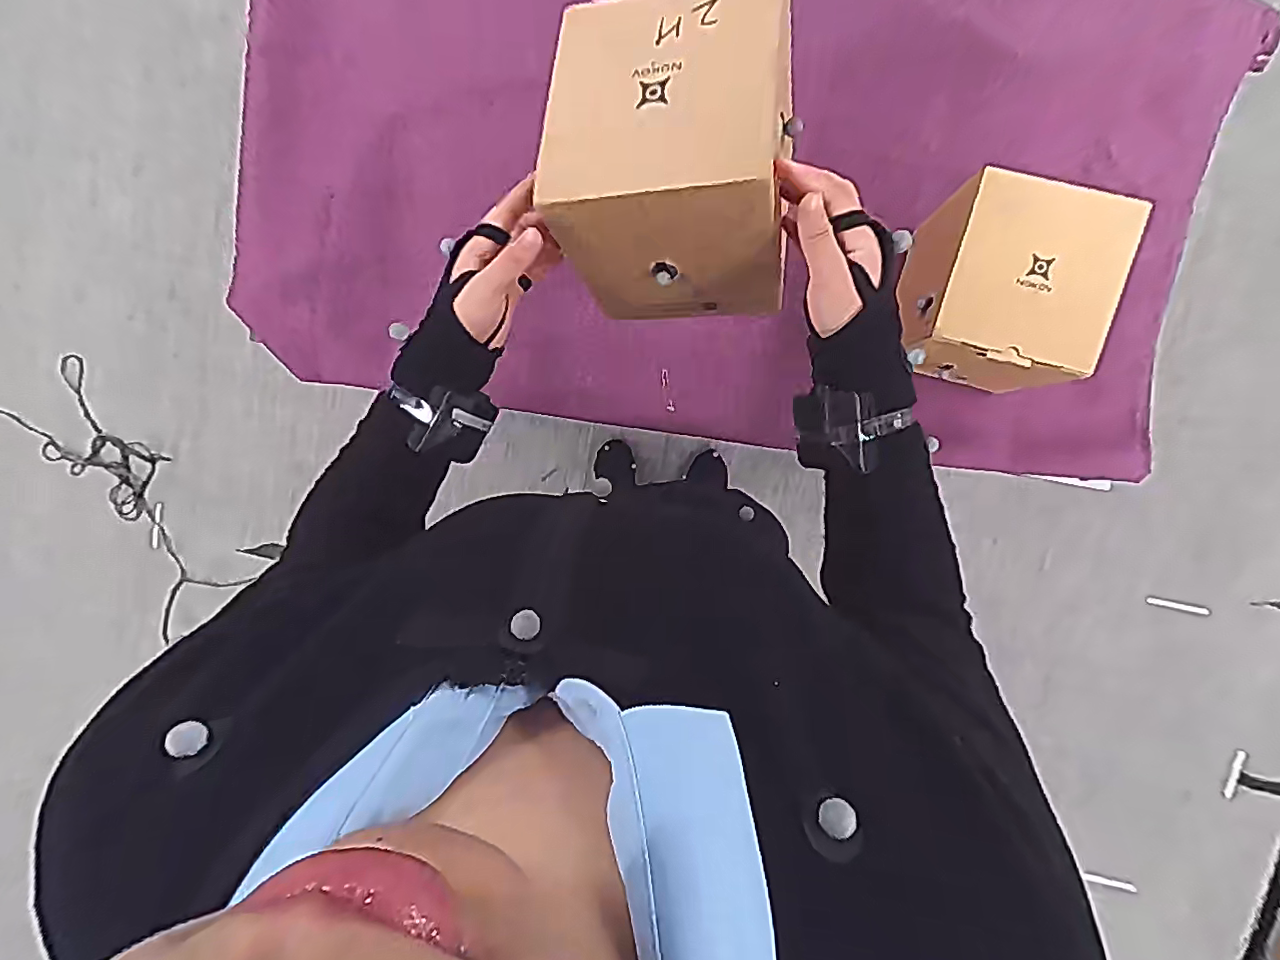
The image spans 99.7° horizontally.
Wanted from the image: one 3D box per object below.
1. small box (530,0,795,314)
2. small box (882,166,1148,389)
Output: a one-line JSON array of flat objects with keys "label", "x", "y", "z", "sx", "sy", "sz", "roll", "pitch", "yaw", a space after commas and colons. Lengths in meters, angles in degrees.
[{"label": "small box", "x": 0.034, "y": -0.249, "z": 0.436, "sx": 0.168, "sy": 0.176, "sz": 0.179, "roll": 4, "pitch": 77, "yaw": 16}, {"label": "small box", "x": 0.405, "y": -0.214, "z": 0.620, "sx": 0.168, "sy": 0.176, "sz": 0.179, "roll": 16, "pitch": 95, "yaw": 3}]
